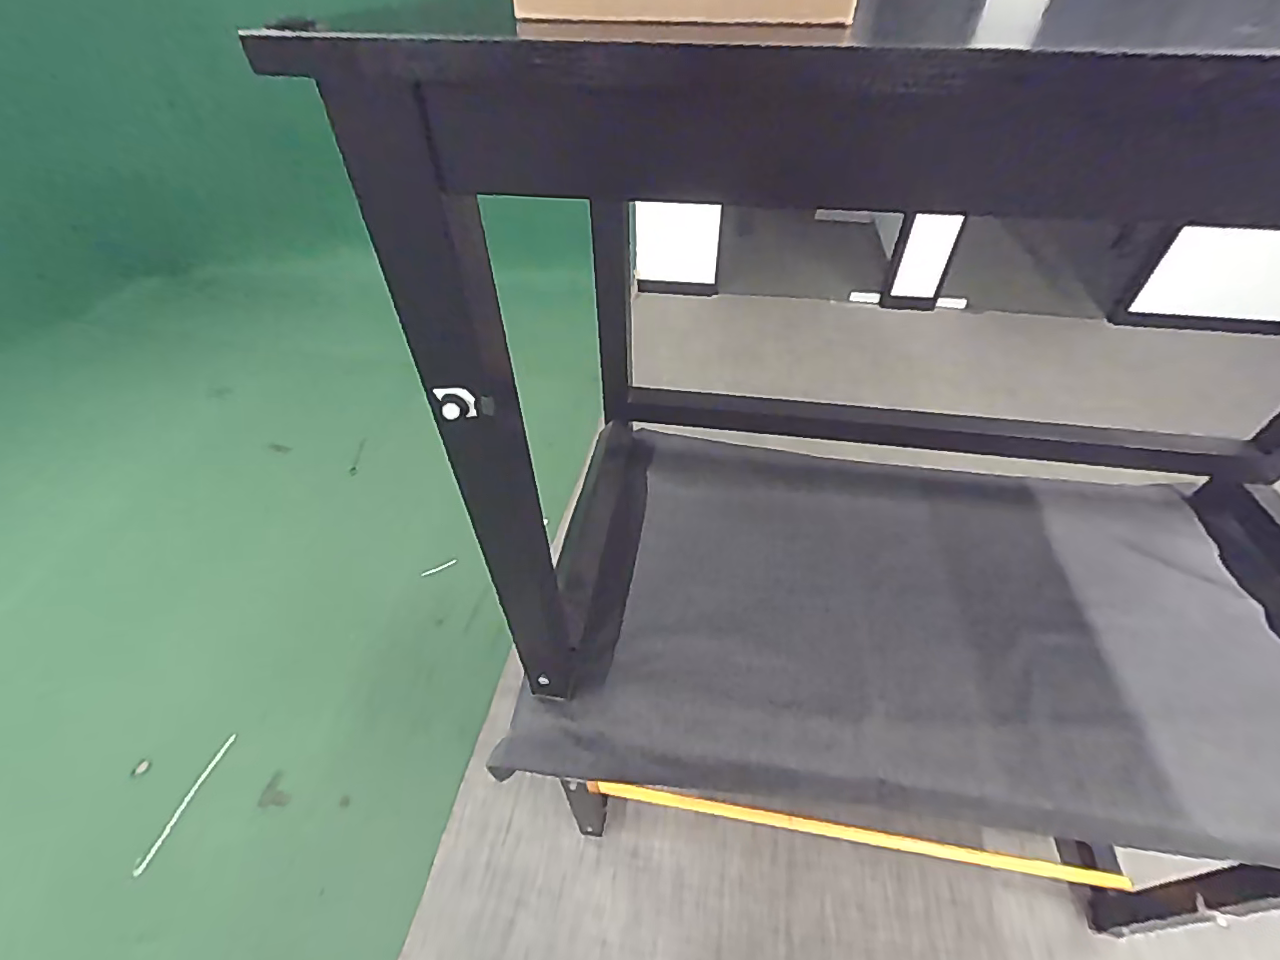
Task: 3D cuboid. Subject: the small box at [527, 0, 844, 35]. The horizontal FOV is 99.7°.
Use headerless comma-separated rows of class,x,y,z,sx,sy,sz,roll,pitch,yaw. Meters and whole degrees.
small box,0.030,-0.338,0.268,0.168,0.176,0.179,7,45,7
